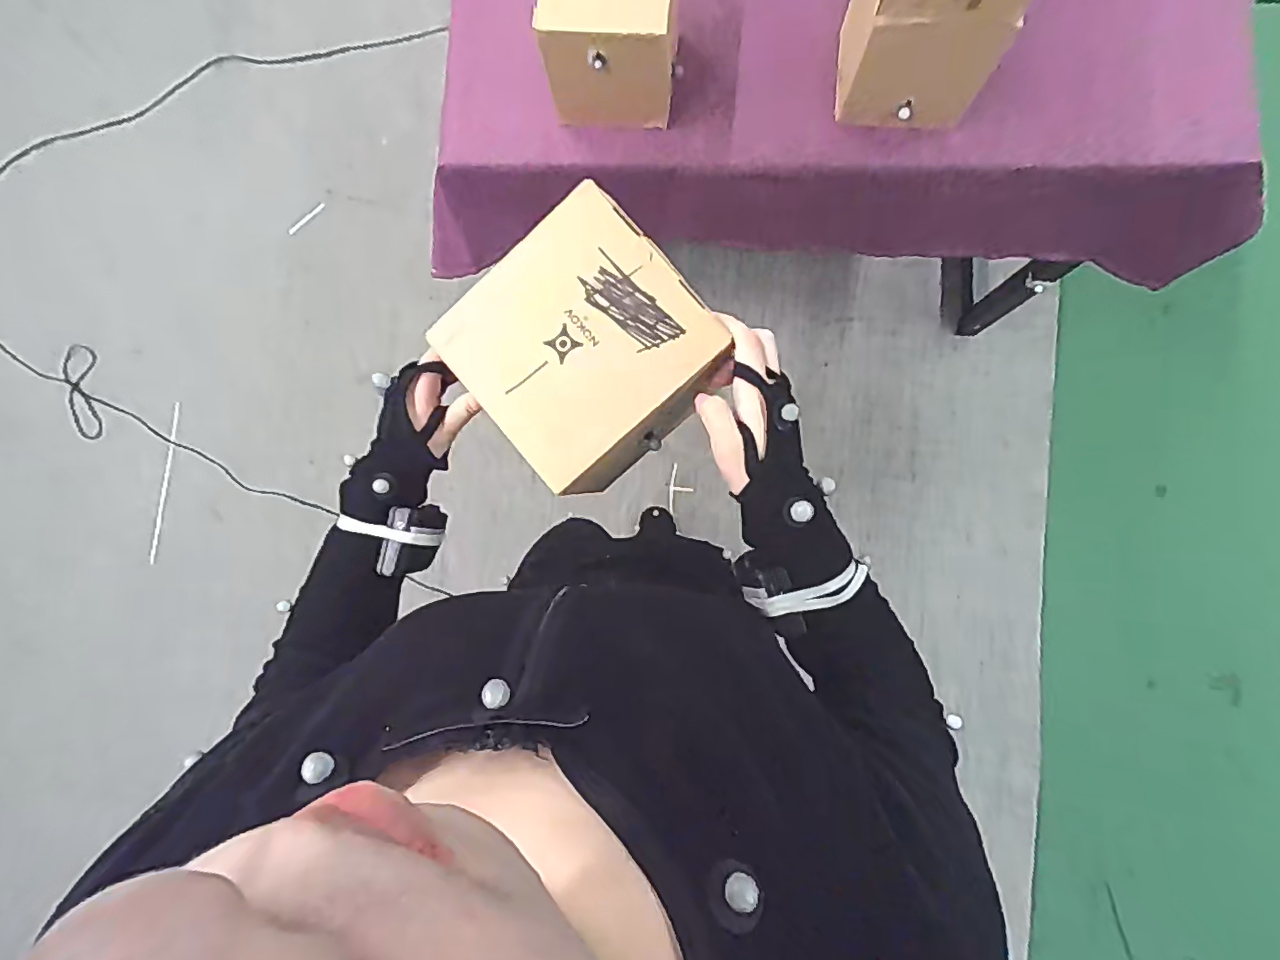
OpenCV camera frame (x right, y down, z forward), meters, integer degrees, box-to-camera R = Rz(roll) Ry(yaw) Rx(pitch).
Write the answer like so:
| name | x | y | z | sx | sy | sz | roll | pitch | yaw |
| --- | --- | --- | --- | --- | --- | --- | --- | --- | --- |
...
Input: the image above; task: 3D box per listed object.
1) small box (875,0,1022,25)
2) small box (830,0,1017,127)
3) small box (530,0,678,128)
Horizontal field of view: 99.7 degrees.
| name | x | y | z | sx | sy | sz | roll | pitch | yaw |
| --- | --- | --- | --- | --- | --- | --- | --- | --- | --- |
| small box | 0.365 | -0.645 | 0.577 | 0.168 | 0.176 | 0.179 | 6 | 86 | 5 |
| small box | 0.378 | -0.619 | 0.739 | 0.179 | 0.176 | 0.168 | 5 | 85 | 4 |
| small box | -0.041 | -0.640 | 0.771 | 0.179 | 0.176 | 0.168 | 6 | 86 | 4 |
